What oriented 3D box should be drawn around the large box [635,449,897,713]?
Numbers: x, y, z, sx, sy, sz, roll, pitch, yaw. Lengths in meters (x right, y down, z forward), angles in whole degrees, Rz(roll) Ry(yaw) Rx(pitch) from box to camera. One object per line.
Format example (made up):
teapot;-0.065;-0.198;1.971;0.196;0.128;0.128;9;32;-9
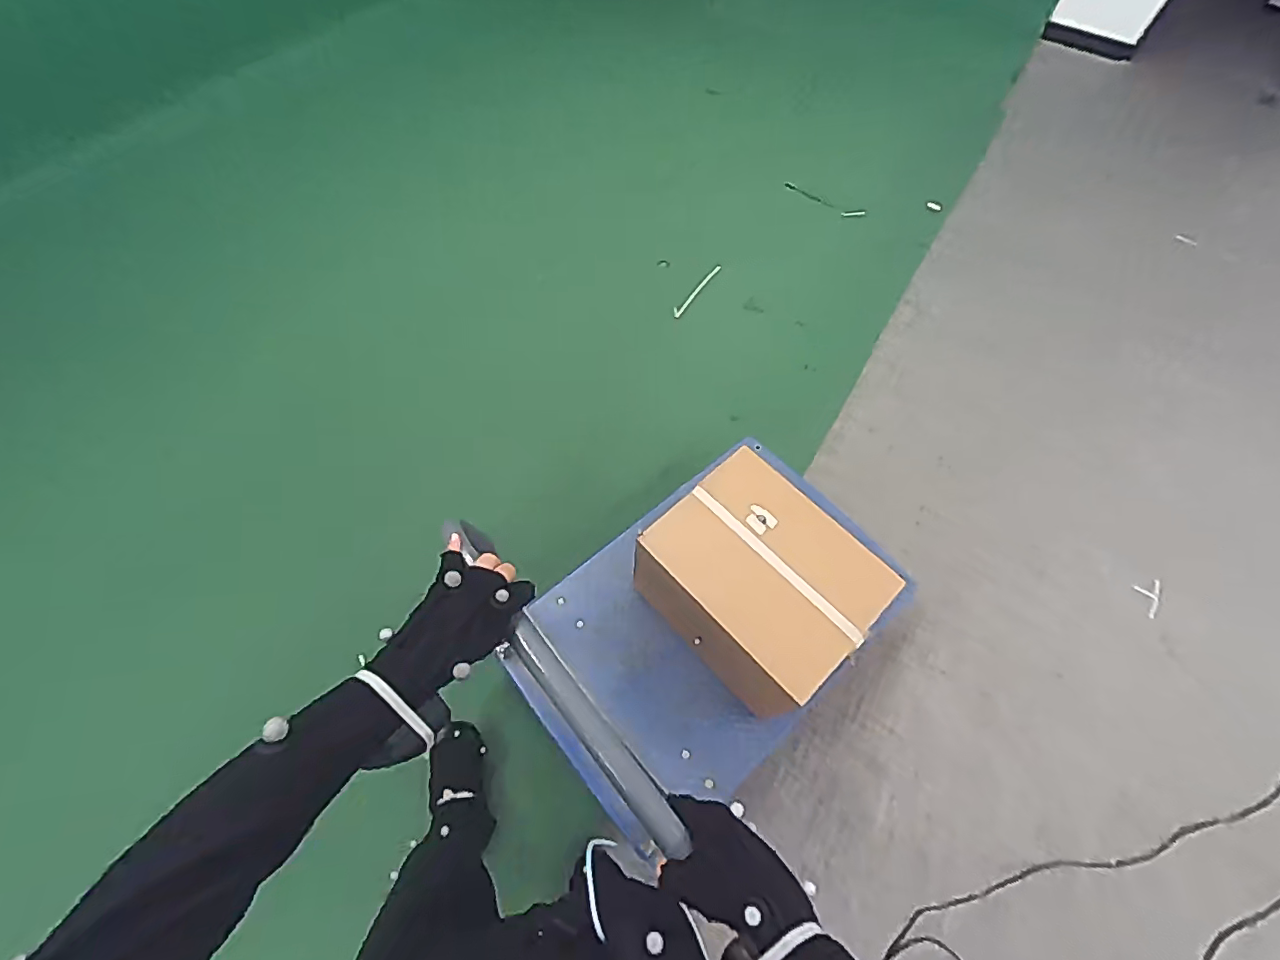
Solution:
large box;0.233;0.219;1.145;0.320;0.320;0.408;-39;69;-21
